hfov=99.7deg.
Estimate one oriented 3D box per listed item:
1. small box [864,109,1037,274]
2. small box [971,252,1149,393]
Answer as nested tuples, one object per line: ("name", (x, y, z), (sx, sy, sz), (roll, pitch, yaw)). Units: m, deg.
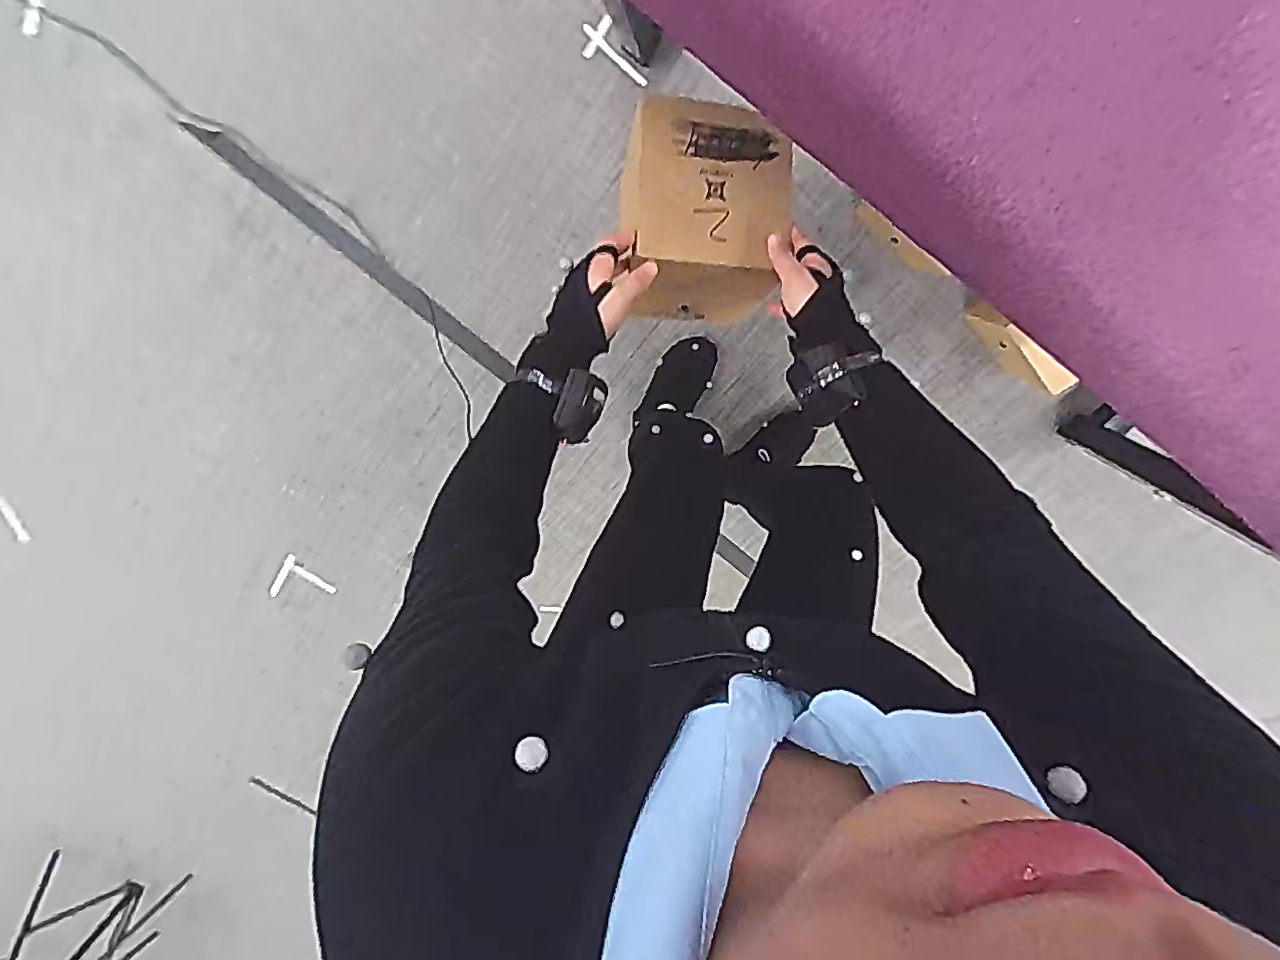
("small box", (0.512, -0.481, 0.928), (0.168, 0.176, 0.179), (38, 112, -12))
("small box", (0.747, -0.291, 0.990), (0.179, 0.176, 0.168), (-40, 104, 20))
